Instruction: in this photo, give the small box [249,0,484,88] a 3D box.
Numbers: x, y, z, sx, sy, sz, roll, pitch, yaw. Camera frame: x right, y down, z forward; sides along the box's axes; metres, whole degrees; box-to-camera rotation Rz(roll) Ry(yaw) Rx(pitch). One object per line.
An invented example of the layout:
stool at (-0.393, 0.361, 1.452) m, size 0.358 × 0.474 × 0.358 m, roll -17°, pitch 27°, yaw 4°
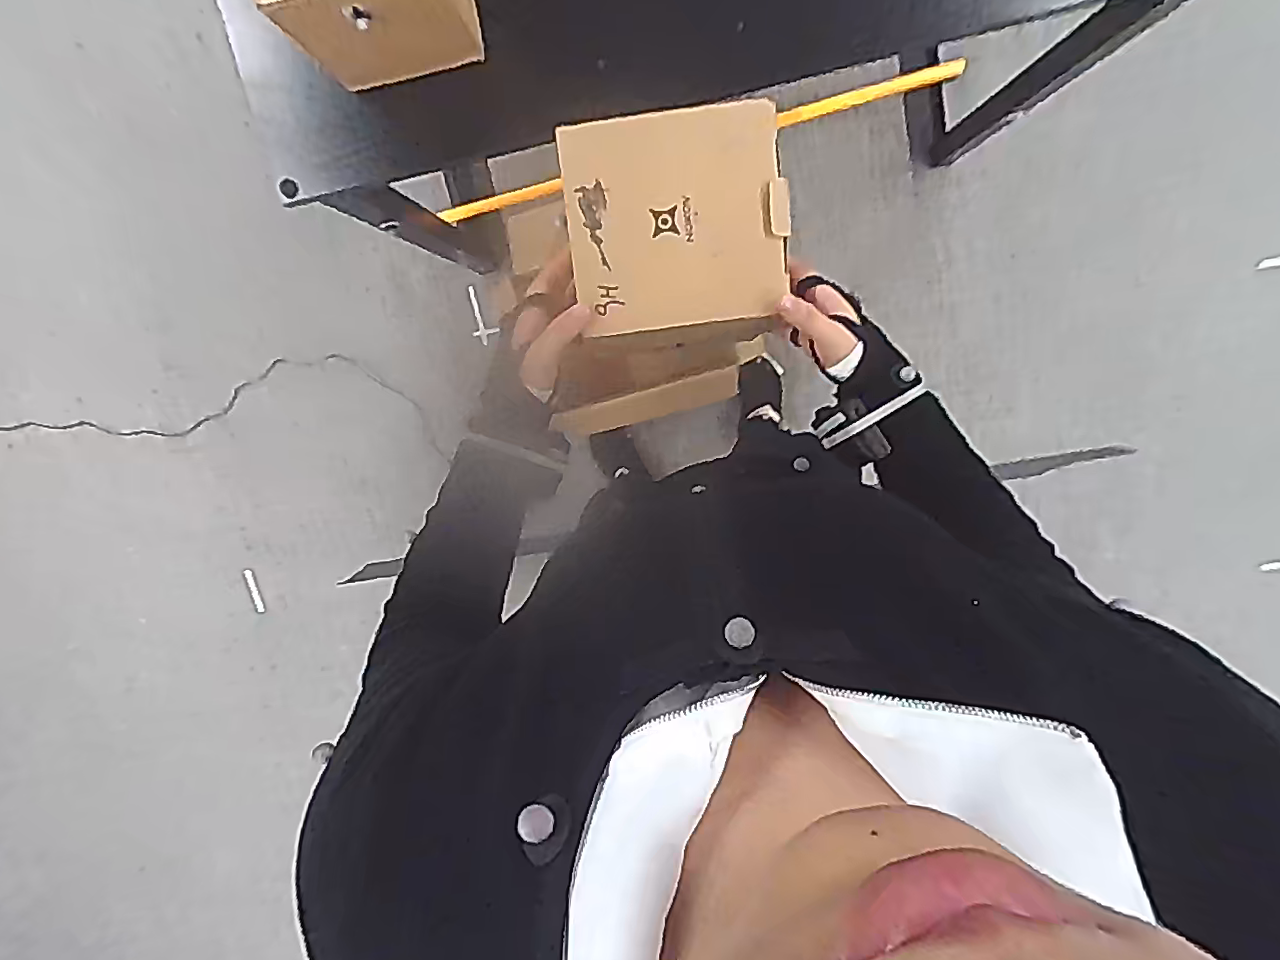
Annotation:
small box at (-0.284, -0.540, 0.551) m, size 0.179 × 0.176 × 0.168 m, roll -11°, pitch 103°, yaw 3°
